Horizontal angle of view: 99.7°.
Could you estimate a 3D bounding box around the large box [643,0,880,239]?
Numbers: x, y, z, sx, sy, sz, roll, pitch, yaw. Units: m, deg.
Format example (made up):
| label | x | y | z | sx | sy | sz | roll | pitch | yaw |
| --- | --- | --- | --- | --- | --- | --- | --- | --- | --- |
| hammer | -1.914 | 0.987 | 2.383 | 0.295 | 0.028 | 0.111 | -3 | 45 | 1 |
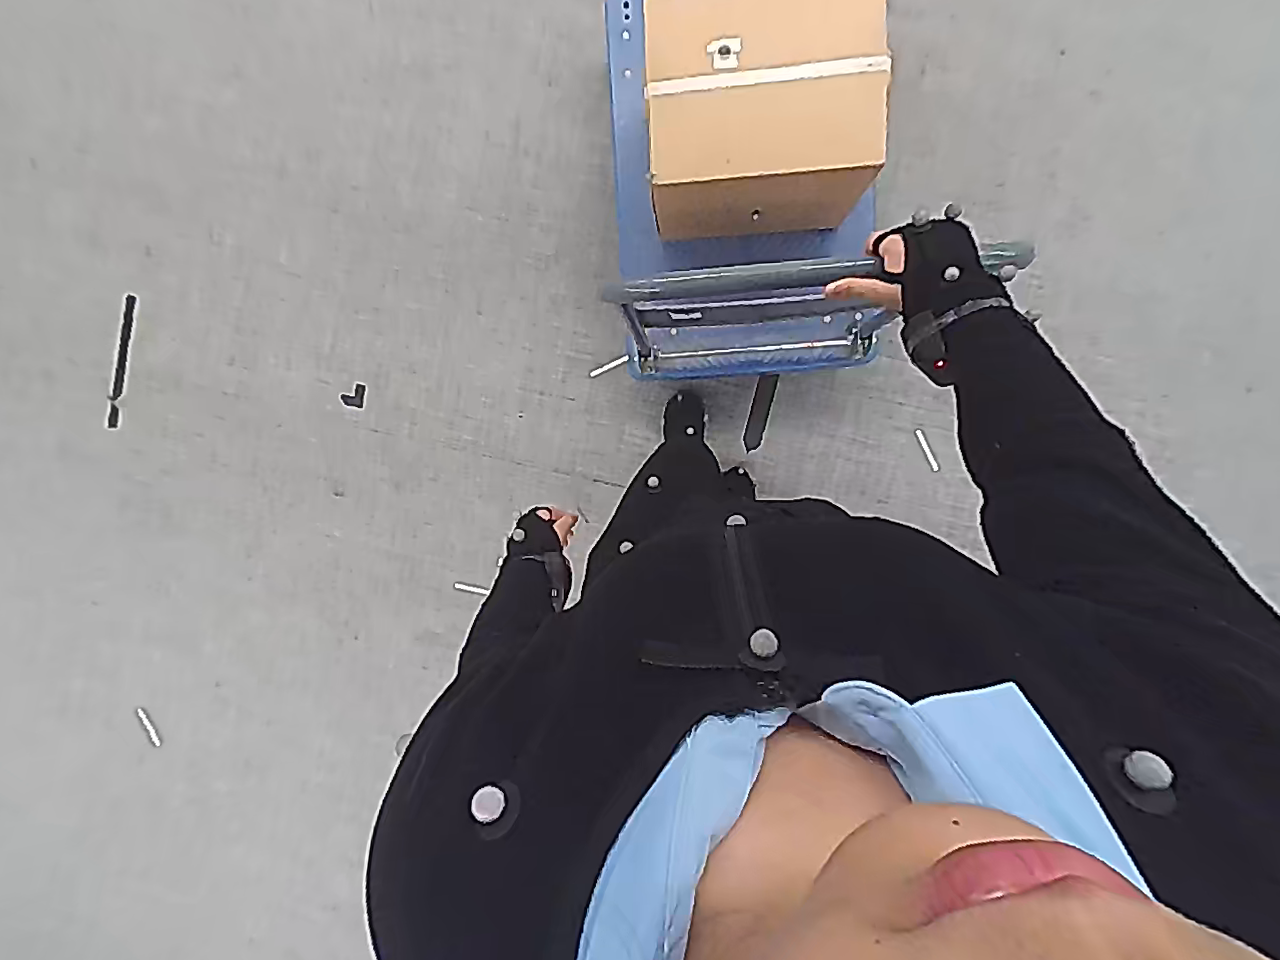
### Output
| label | x | y | z | sx | sy | sz | roll | pitch | yaw |
| --- | --- | --- | --- | --- | --- | --- | --- | --- | --- |
| large box | 0.229 | -0.711 | 1.094 | 0.408 | 0.320 | 0.320 | -2 | 95 | 7 |
